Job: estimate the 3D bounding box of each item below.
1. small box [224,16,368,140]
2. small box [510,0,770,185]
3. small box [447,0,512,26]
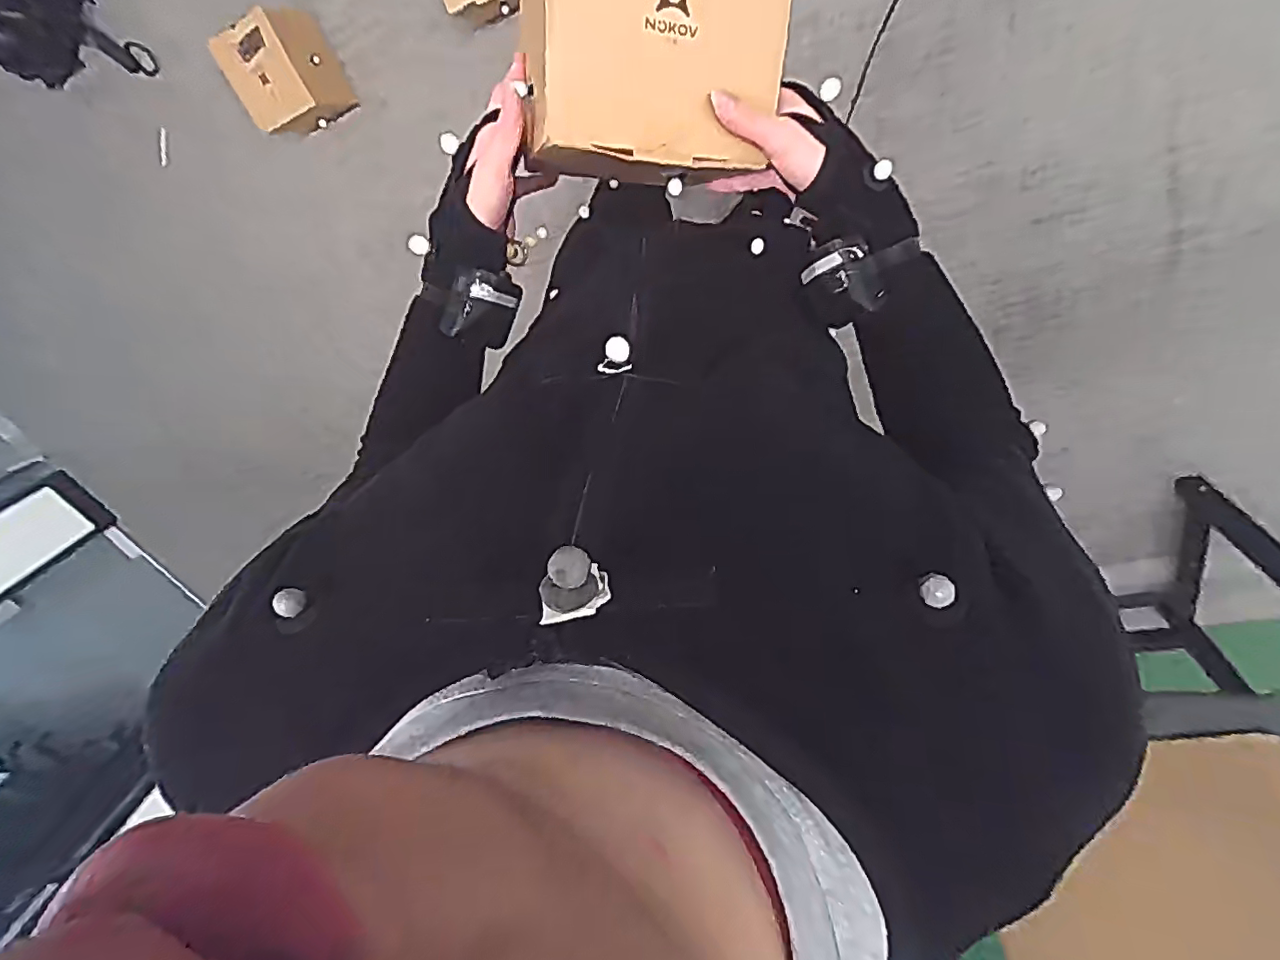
[{"bbox_3d":[-0.770,-0.905,1.229,0.168,0.176,0.179,-11,123,20],"label":"small box"},{"bbox_3d":[-0.012,-0.341,0.426,0.168,0.176,0.179,-4,114,-16],"label":"small box"},{"bbox_3d":[-0.292,-1.014,1.044,0.168,0.176,0.179,-9,124,19],"label":"small box"}]
